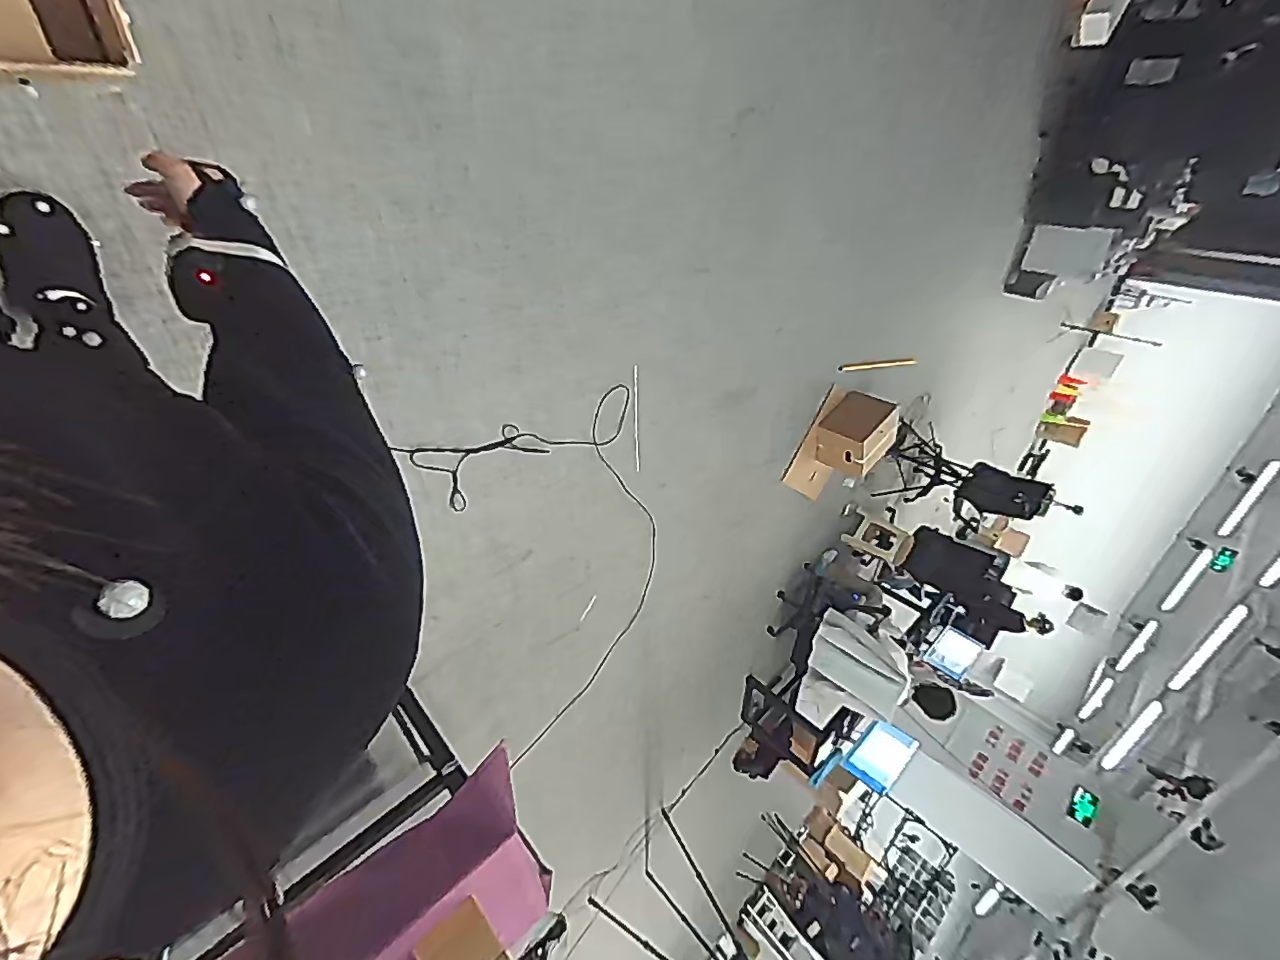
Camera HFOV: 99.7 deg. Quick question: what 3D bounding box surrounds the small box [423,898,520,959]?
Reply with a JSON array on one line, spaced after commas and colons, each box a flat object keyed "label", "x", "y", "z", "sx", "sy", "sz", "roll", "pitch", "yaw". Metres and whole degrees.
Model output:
[{"label": "small box", "x": -0.426, "y": 1.233, "z": 1.386, "sx": 0.179, "sy": 0.176, "sz": 0.168, "roll": -28, "pitch": 132, "yaw": -32}]
